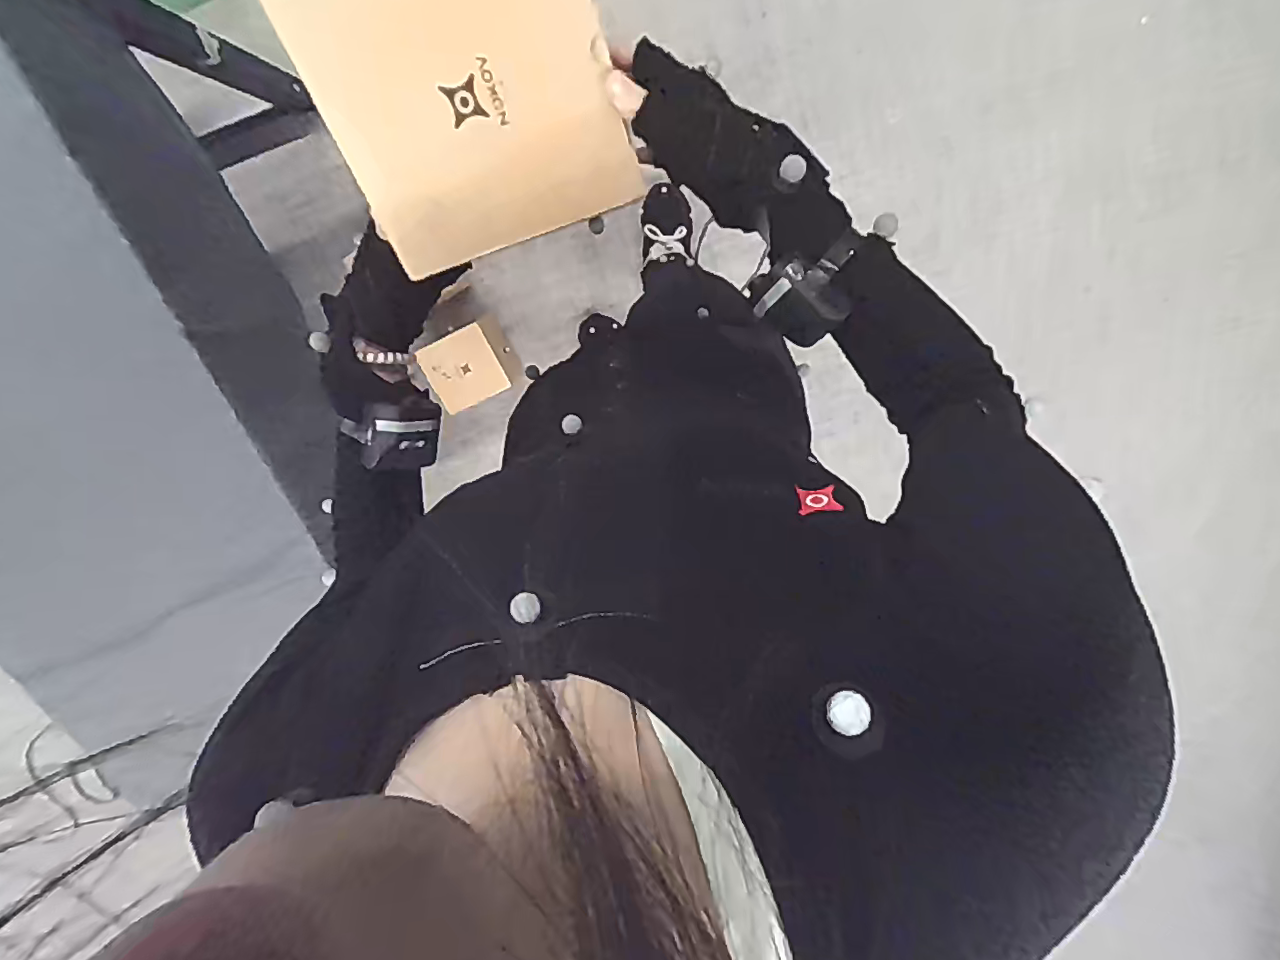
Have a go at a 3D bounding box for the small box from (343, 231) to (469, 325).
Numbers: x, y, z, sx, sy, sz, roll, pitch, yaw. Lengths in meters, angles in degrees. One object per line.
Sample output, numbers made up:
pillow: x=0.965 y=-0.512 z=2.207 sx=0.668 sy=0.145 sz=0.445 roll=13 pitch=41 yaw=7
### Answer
small box: x=-0.528 y=-0.480 z=1.249 sx=0.179 sy=0.176 sz=0.168 roll=-27 pitch=110 yaw=12

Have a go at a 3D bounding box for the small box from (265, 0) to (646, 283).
small box: x=-0.107 y=-0.266 z=0.393 sx=0.179 sy=0.176 sz=0.168 roll=-18 pitch=123 yaw=3
